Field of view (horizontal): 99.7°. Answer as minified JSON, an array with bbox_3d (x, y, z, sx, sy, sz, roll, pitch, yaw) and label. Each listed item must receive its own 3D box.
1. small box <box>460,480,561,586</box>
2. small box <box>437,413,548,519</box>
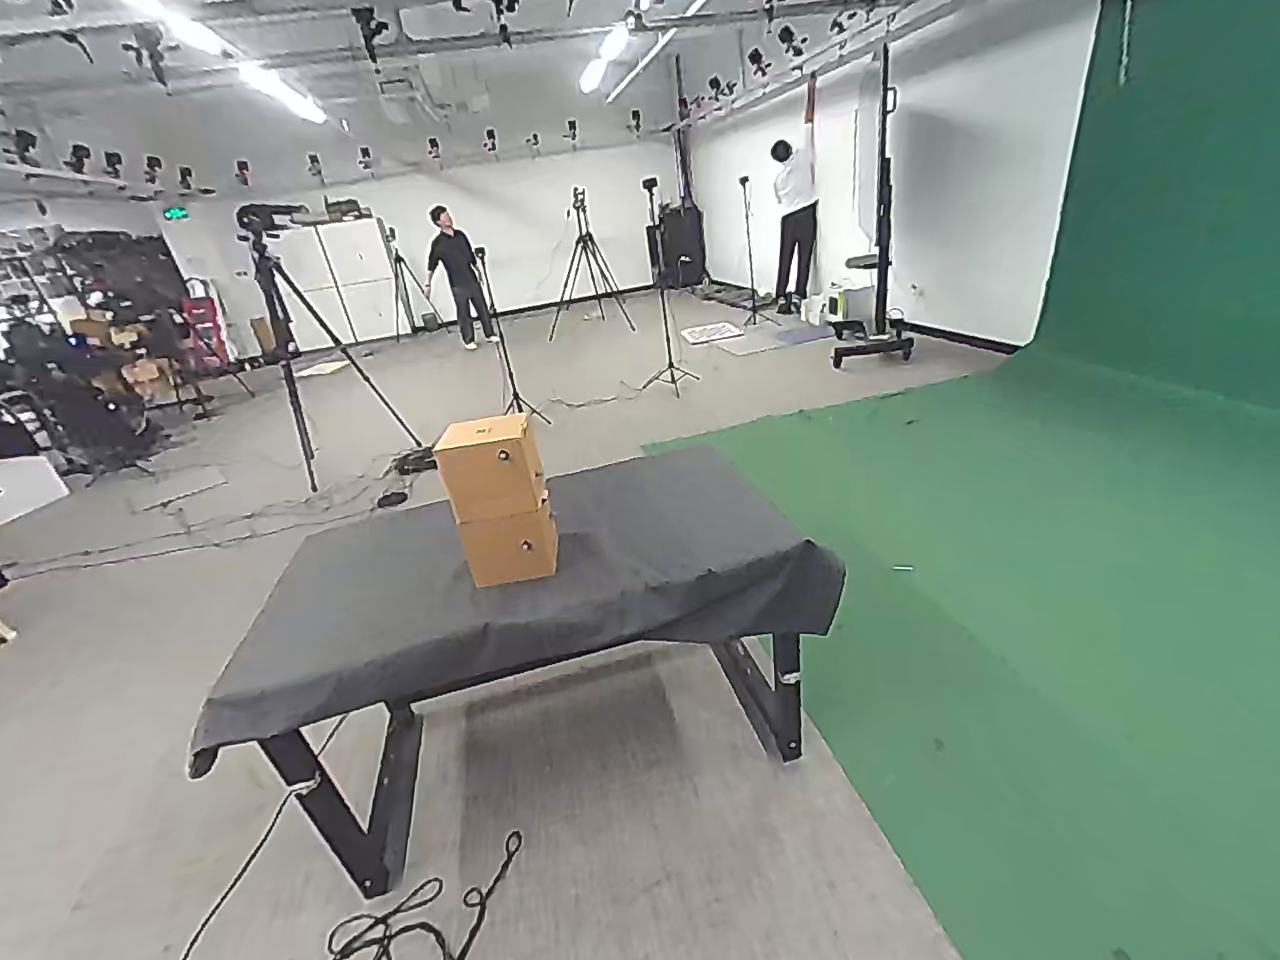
[{"bbox_3d":[-0.281,0.117,1.222,0.179,0.176,0.168,-10,25,-1],"label":"small box"},{"bbox_3d":[-0.304,-0.030,1.155,0.179,0.176,0.168,-9,25,-1],"label":"small box"}]
